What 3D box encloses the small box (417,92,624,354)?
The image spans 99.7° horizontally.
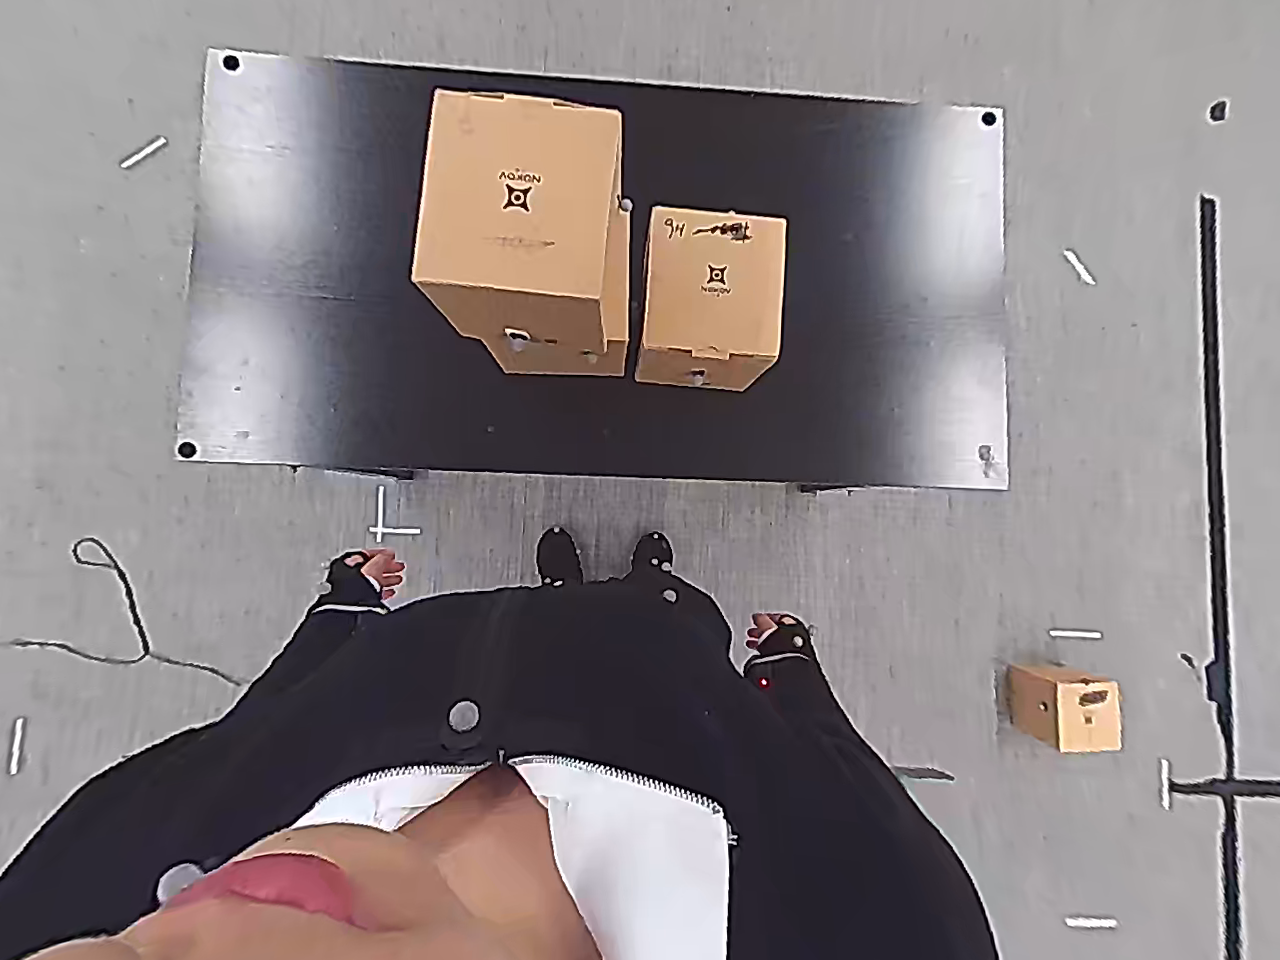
[{"bbox_3d":[-0.107,-0.244,0.553,0.168,0.176,0.179,5,87,-1],"label":"small box"}]

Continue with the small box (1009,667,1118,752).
[{"bbox_3d":[1.136,0.611,1.464,0.168,0.176,0.179,0,87,-3],"label":"small box"}]
